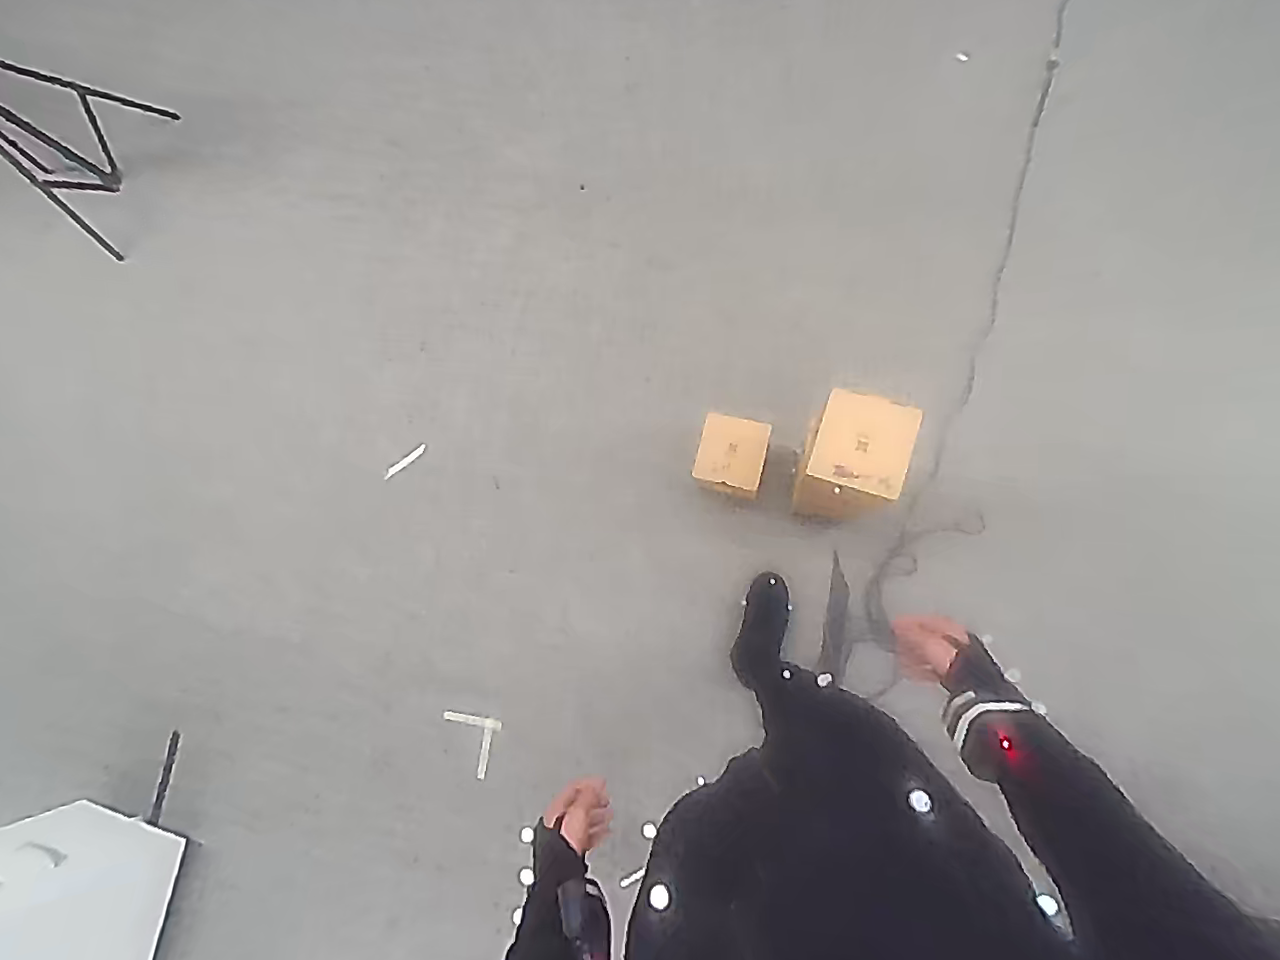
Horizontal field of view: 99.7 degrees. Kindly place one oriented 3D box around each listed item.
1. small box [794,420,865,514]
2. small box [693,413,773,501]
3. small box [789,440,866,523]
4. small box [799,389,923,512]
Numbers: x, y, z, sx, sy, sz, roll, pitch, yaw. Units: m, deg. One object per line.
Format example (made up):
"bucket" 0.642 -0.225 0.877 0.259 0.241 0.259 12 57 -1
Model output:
"small box" 0.449 -0.023 1.211 0.179 0.176 0.168 10 82 12
"small box" 0.243 -0.055 1.418 0.168 0.176 0.179 14 83 13
"small box" 0.477 0.004 1.369 0.168 0.176 0.179 9 82 12
"small box" 0.418 -0.050 1.052 0.168 0.176 0.179 18 83 13
